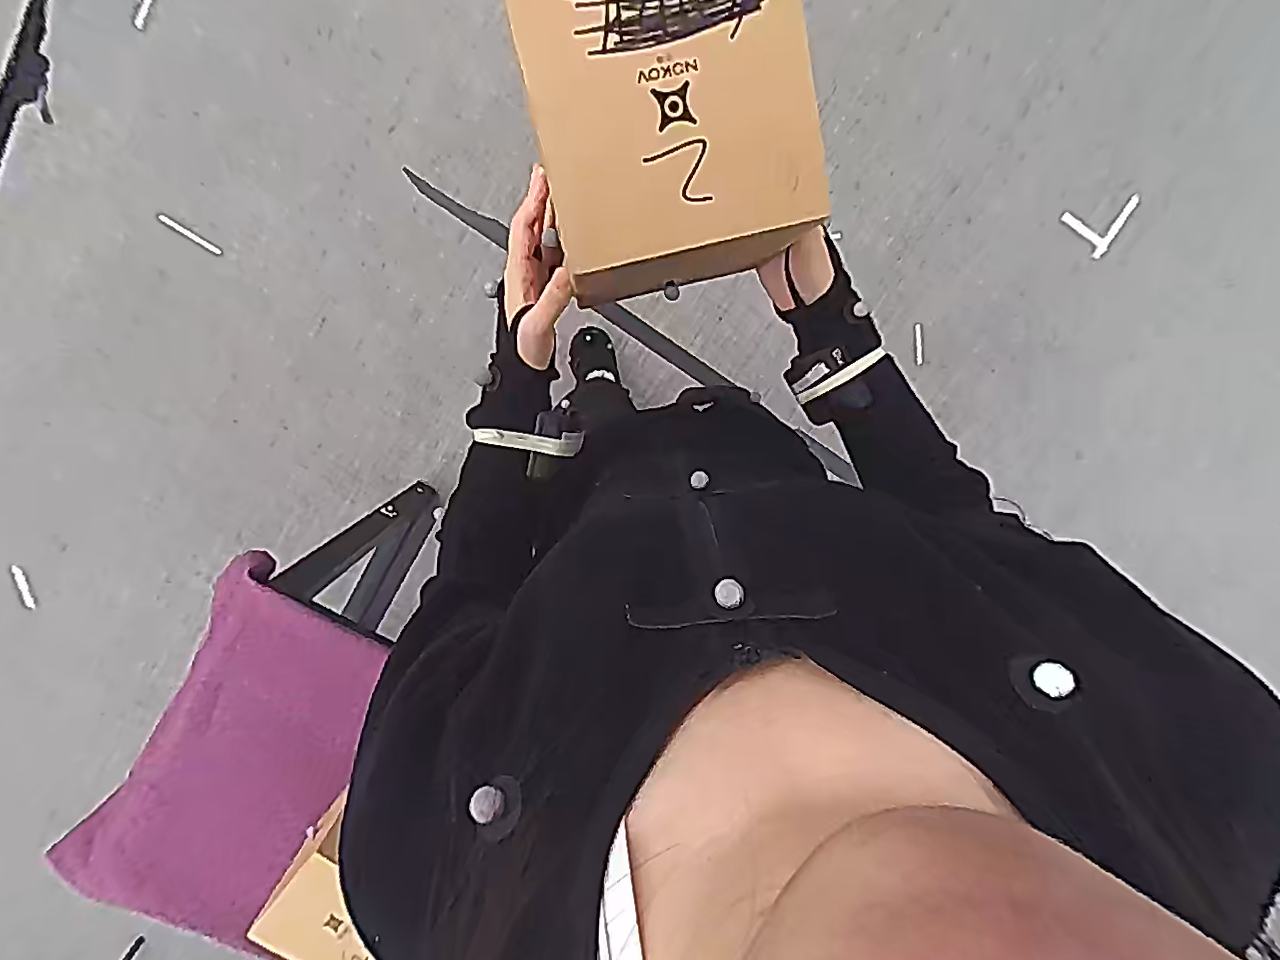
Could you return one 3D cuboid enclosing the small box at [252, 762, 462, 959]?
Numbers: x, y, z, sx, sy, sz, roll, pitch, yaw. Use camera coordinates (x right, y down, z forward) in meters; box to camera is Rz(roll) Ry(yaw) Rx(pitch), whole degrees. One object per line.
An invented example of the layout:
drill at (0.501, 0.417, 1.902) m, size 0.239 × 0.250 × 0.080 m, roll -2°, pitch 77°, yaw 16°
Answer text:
small box at (-0.392, 0.549, 0.781) m, size 0.179 × 0.176 × 0.168 m, roll 38°, pitch 99°, yaw -11°
